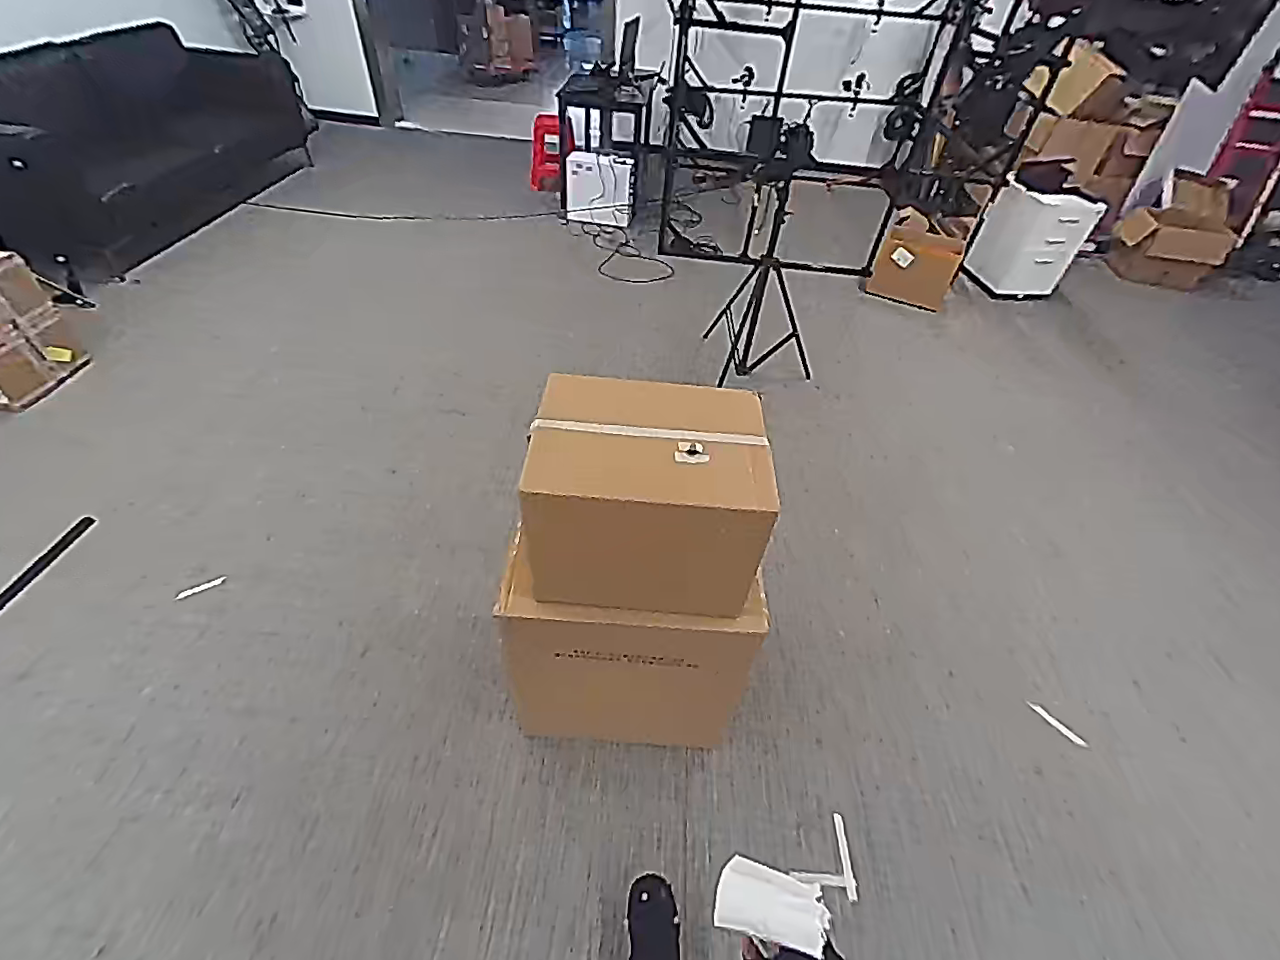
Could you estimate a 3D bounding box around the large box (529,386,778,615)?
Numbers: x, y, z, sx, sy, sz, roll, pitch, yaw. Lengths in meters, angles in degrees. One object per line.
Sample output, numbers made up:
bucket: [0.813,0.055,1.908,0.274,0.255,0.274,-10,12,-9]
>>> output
large box: [0.013,0.043,1.053,0.408,0.320,0.320,5,45,-2]
